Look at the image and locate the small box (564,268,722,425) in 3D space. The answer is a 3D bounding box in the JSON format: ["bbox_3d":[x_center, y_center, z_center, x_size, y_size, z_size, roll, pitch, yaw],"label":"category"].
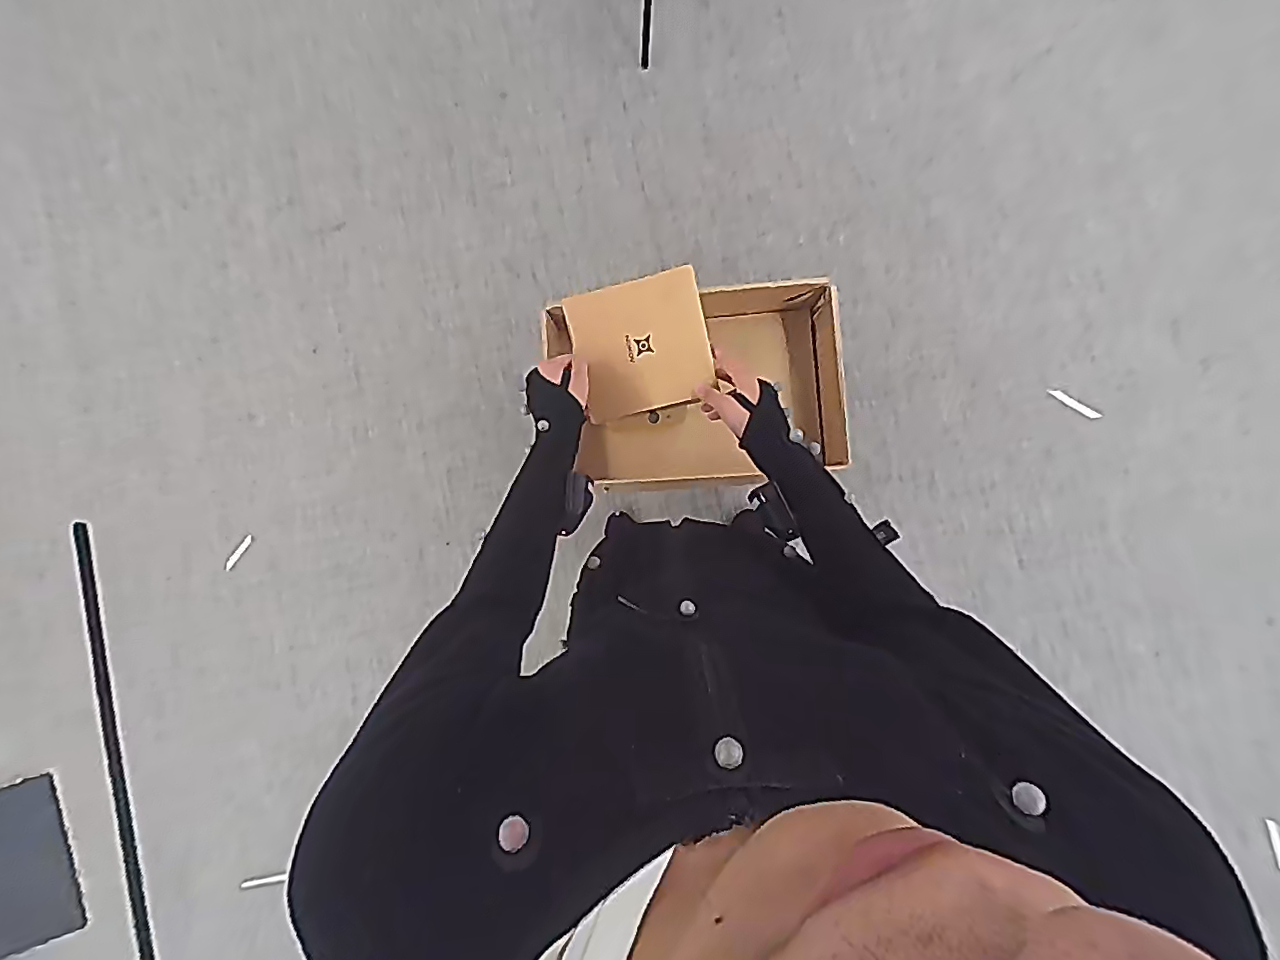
[{"bbox_3d":[0.013,-0.179,0.768,0.179,0.176,0.168,-13,95,10],"label":"small box"}]
